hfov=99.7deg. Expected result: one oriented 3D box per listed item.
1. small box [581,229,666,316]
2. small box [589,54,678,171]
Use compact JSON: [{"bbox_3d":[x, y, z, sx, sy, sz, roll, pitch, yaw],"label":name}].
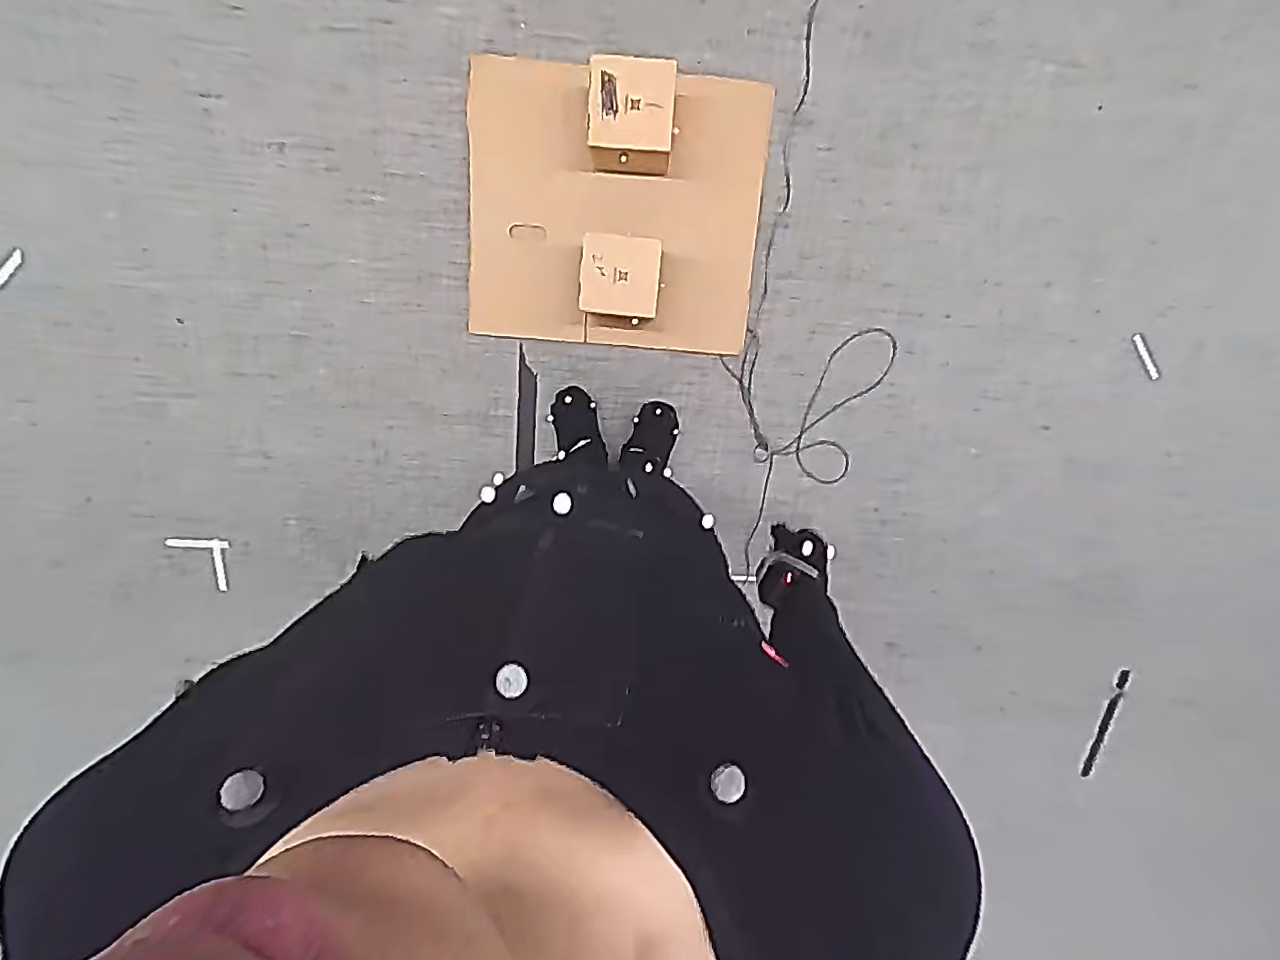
[{"bbox_3d":[-0.036,-0.478,1.269,0.179,0.176,0.168,6,105,0],"label":"small box"},{"bbox_3d":[-0.013,-0.793,1.184,0.179,0.176,0.168,3,105,0],"label":"small box"}]
